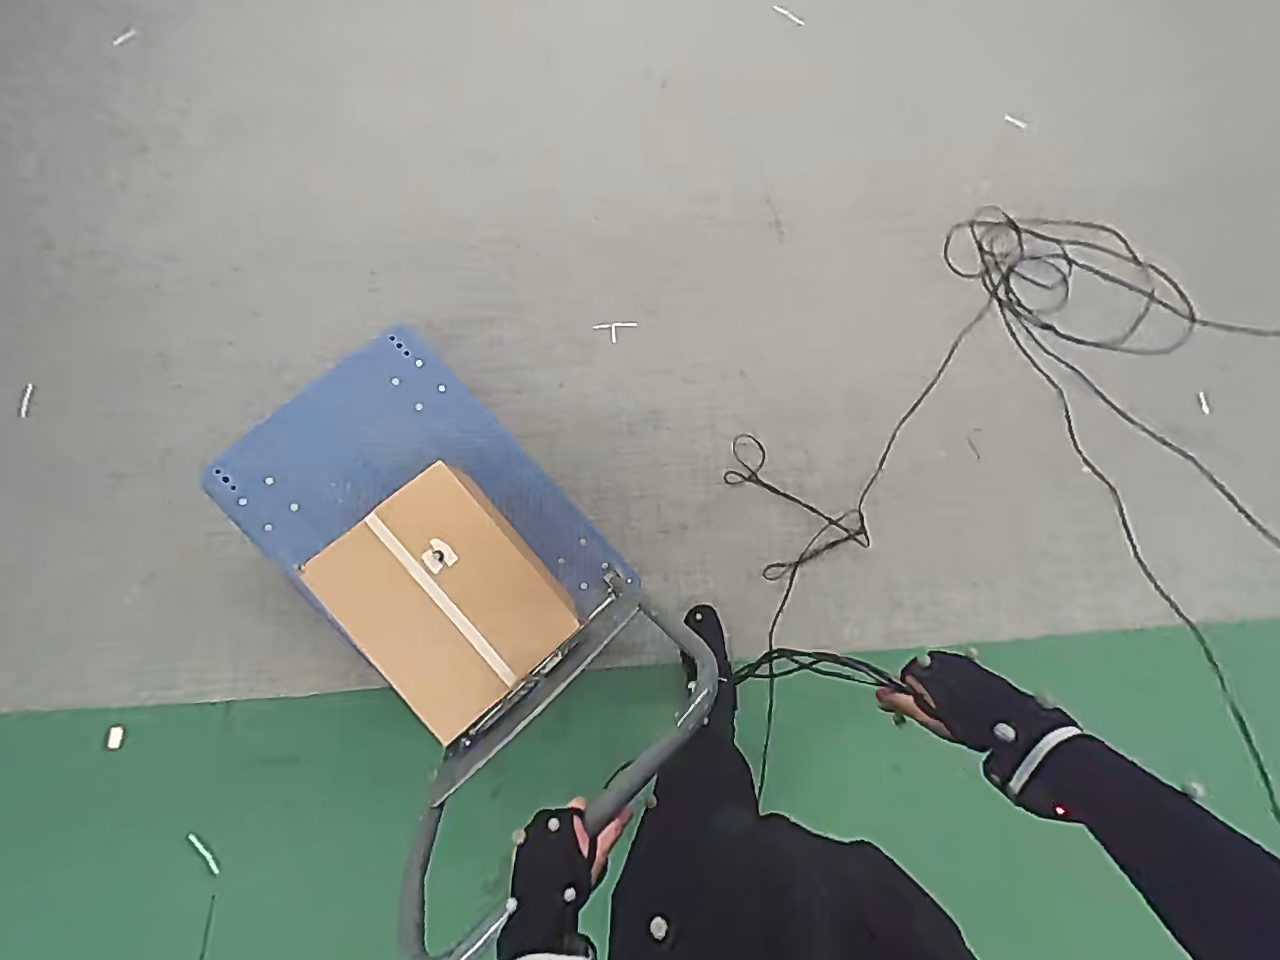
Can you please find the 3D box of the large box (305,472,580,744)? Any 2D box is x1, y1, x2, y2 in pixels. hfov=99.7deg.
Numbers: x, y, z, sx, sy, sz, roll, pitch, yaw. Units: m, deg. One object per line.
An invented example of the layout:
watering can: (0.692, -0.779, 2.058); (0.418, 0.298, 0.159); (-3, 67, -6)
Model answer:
large box: (-0.369, 0.244, 1.126); (0.320, 0.320, 0.408); (-40, 91, -11)
